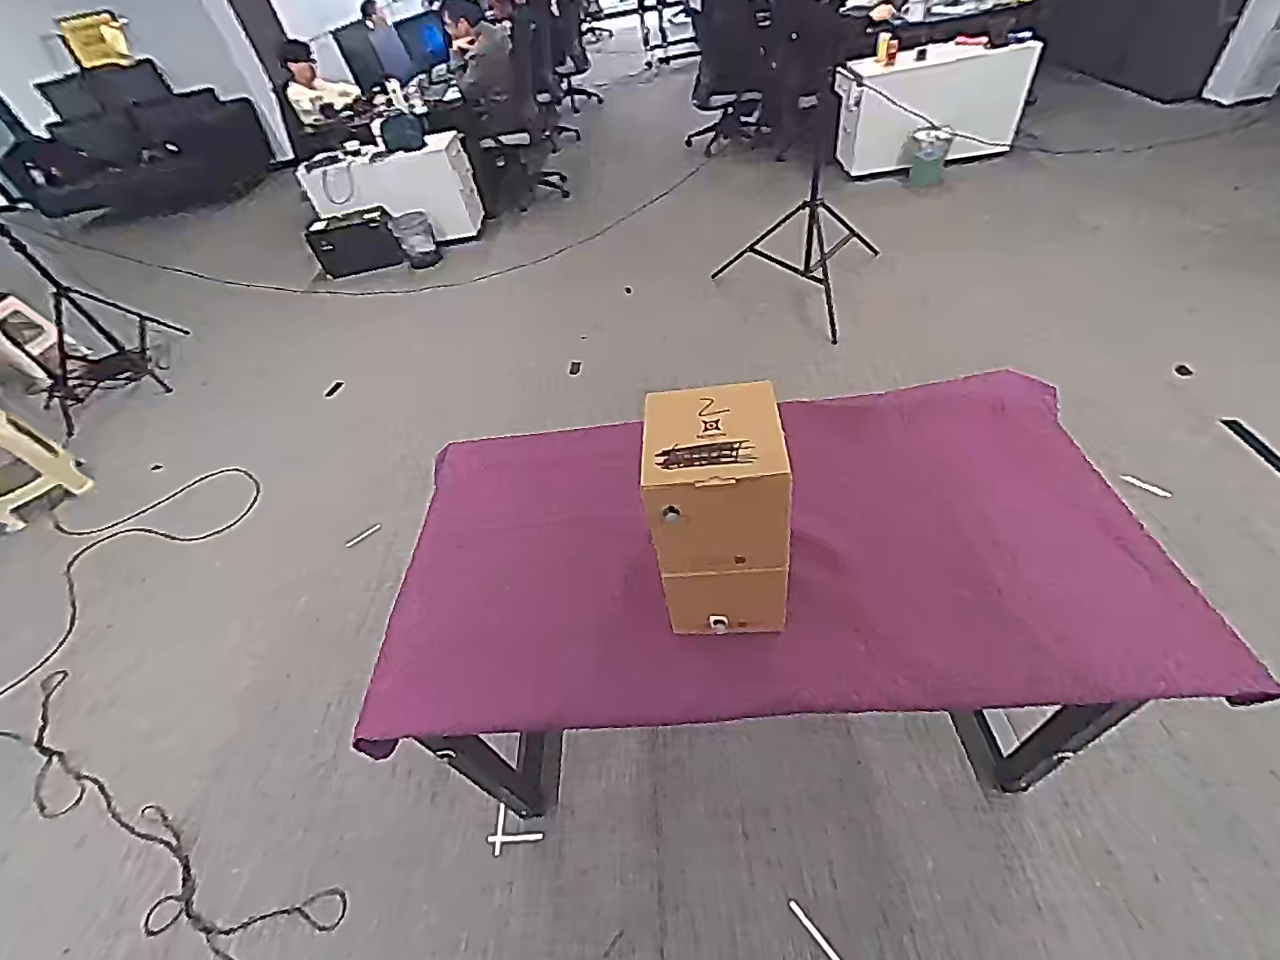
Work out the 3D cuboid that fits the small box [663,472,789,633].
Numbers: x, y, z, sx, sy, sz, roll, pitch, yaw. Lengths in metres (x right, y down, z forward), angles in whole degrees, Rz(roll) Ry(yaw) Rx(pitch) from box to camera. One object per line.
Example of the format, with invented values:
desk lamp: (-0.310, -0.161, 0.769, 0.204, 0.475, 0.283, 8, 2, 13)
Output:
small box: (0.125, 0.111, 0.817, 0.168, 0.176, 0.179, -5, 47, 8)
